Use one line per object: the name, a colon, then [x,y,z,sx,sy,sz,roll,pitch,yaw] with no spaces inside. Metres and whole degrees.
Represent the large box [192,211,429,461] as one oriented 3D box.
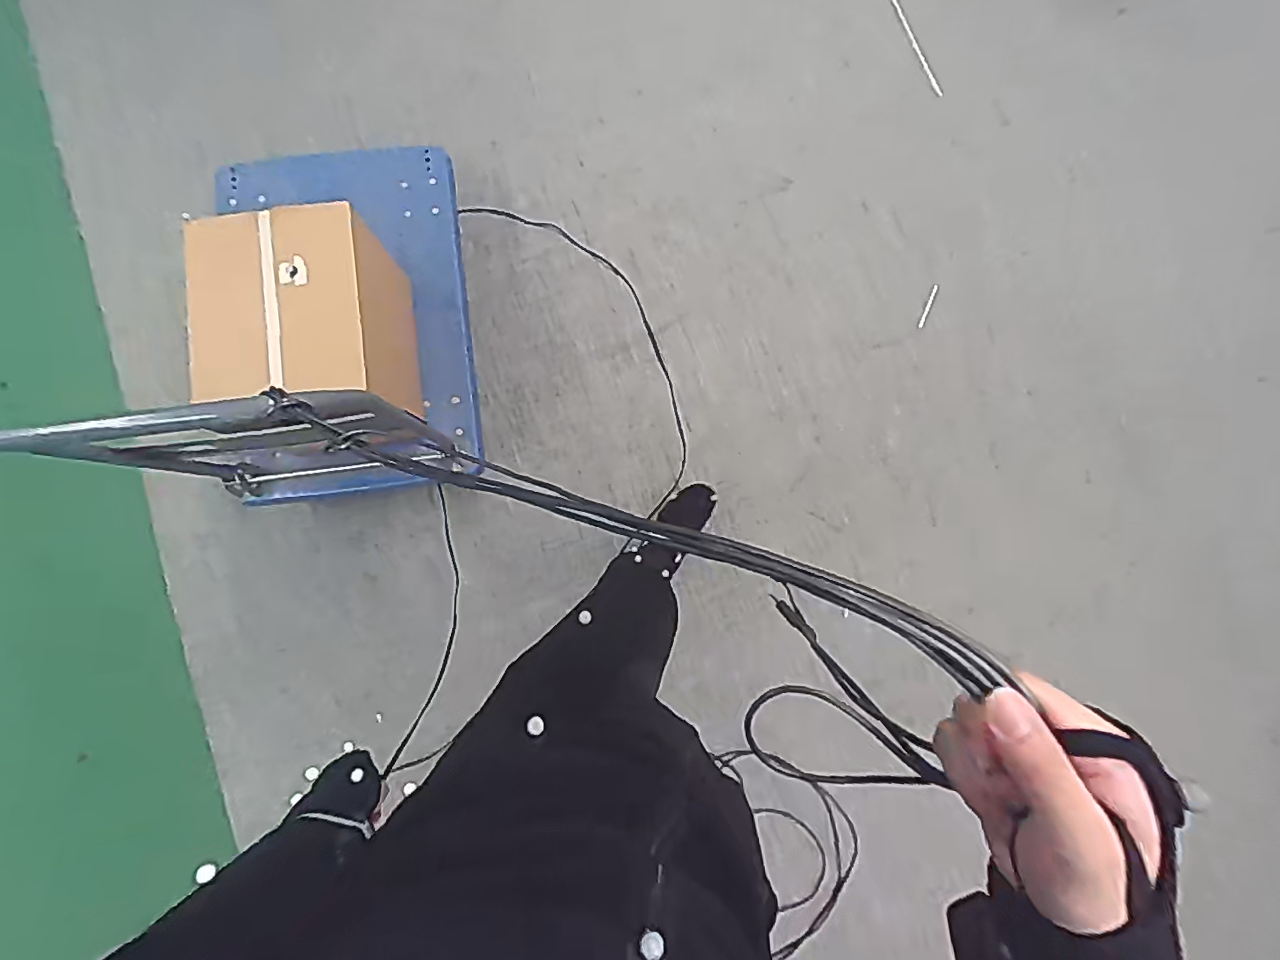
large box: [-0.680,-0.283,1.162,0.320,0.320,0.408,-9,81,-3]
